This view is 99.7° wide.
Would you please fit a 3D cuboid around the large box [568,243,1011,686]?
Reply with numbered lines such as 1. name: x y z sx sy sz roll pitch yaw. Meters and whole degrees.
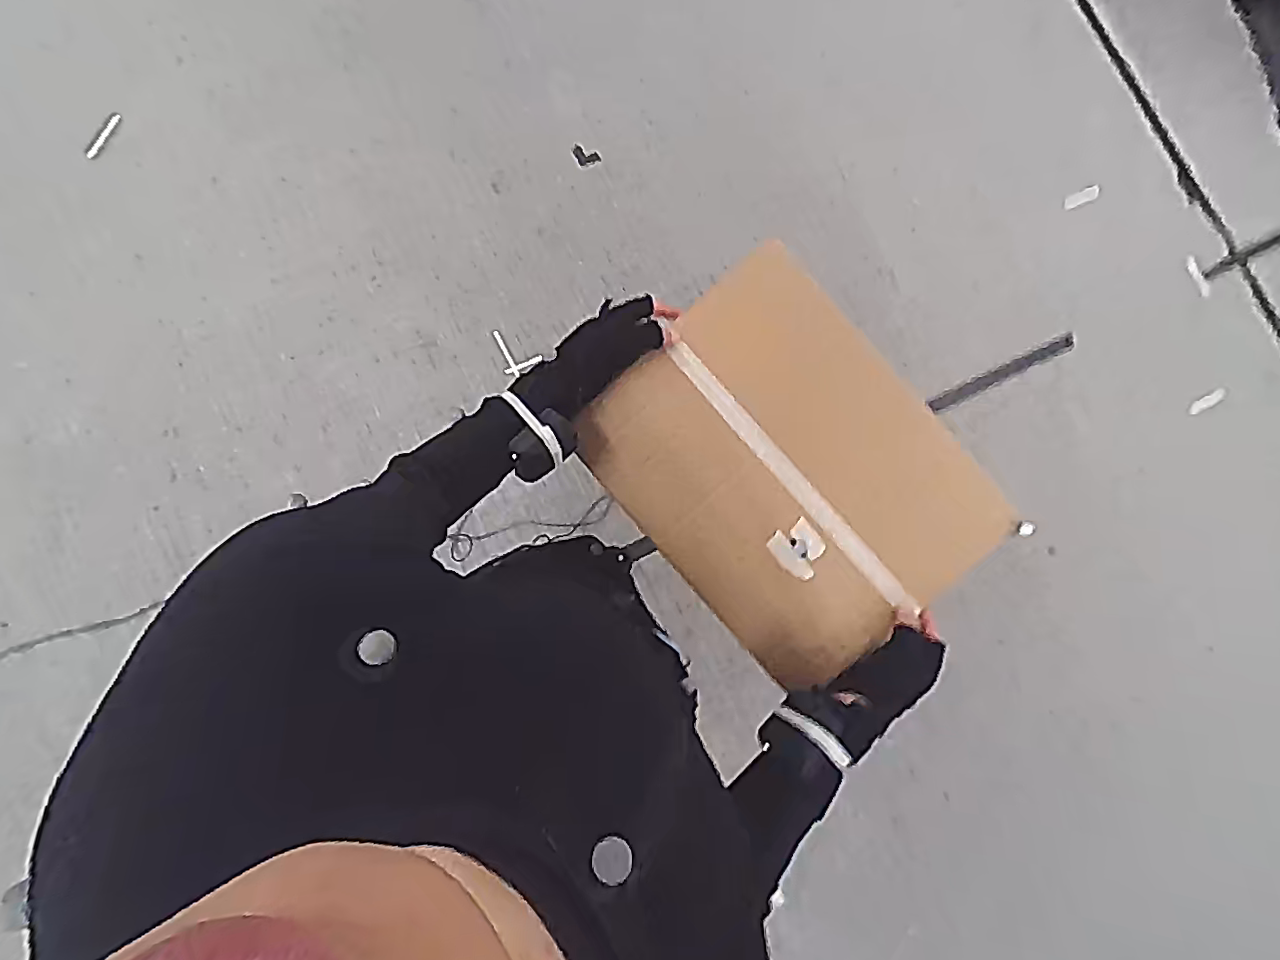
1. large box: 0.164 -0.020 0.740 0.320 0.320 0.408 -41 90 3
